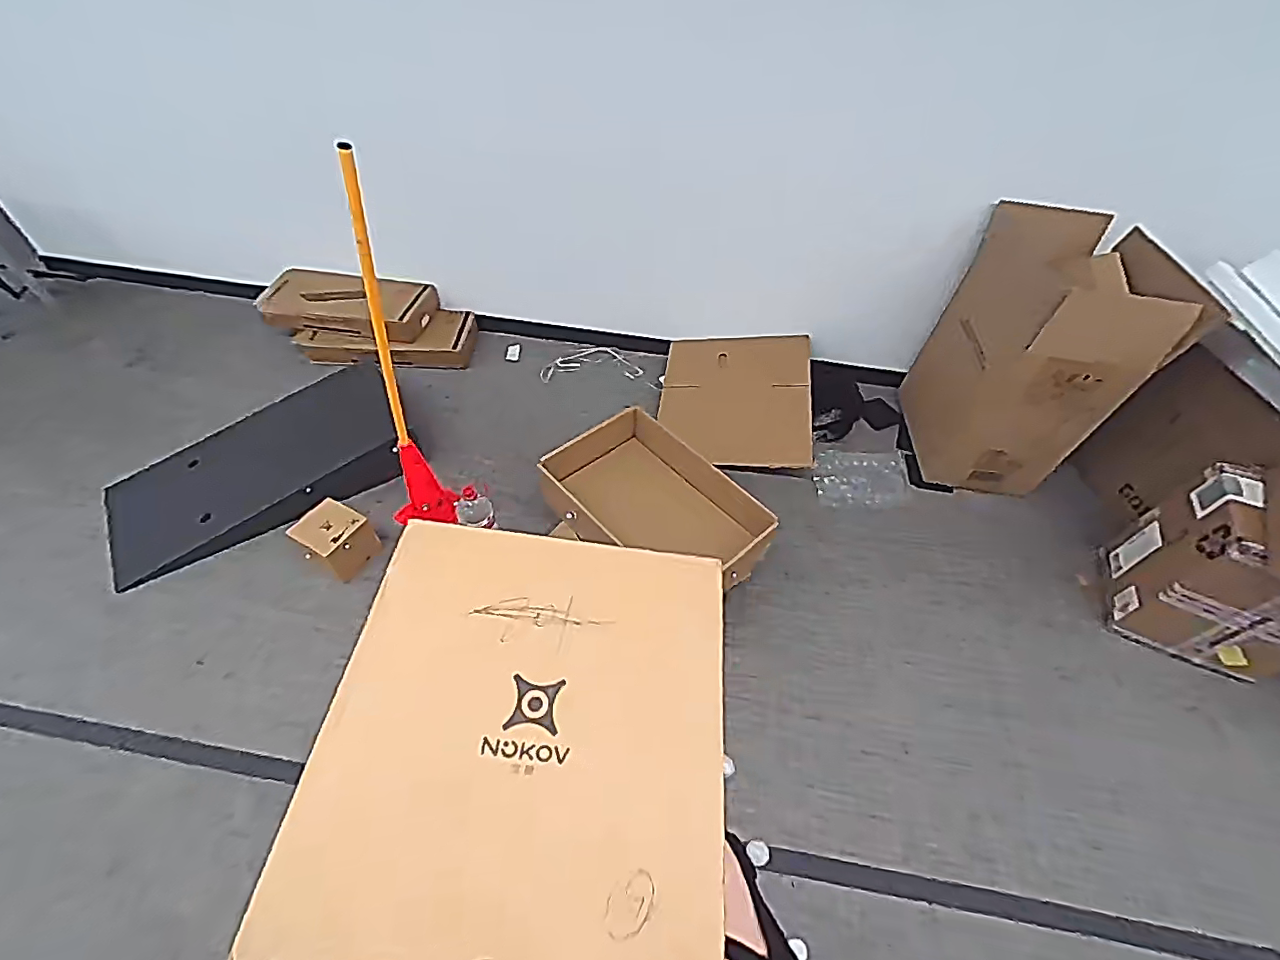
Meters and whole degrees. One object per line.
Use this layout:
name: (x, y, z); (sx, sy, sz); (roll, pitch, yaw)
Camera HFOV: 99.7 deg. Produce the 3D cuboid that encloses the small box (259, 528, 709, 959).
small box: (-0.058, 0.153, 0.308); (0.168, 0.176, 0.179); (8, 51, -3)
